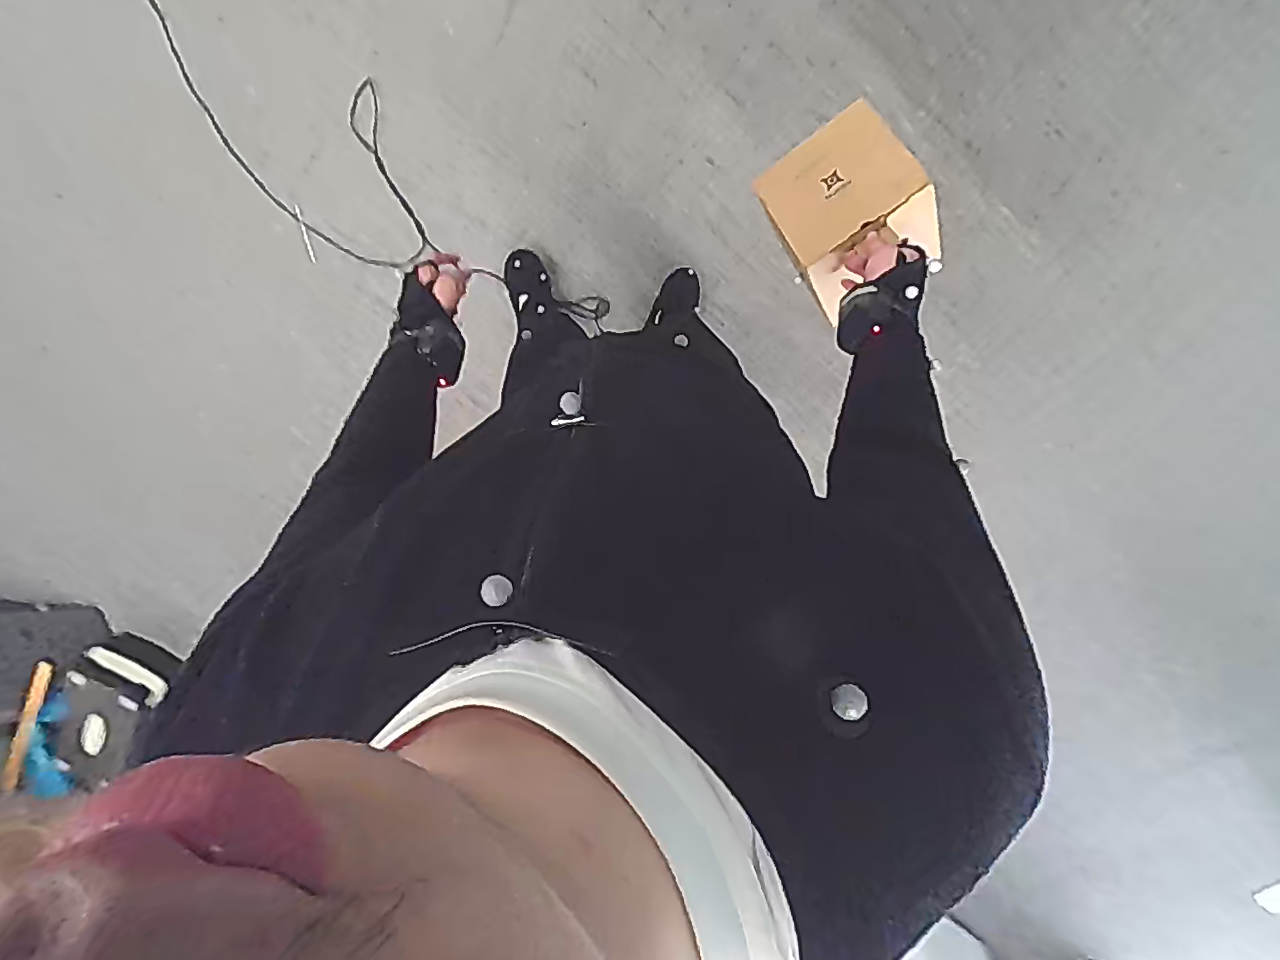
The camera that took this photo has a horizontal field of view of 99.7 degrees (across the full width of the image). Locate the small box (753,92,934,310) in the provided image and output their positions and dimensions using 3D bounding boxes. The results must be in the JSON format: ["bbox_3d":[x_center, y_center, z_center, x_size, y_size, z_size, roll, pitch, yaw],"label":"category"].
[{"bbox_3d":[0.282,-0.360,0.739,0.168,0.176,0.179,-27,66,22],"label":"small box"}]
